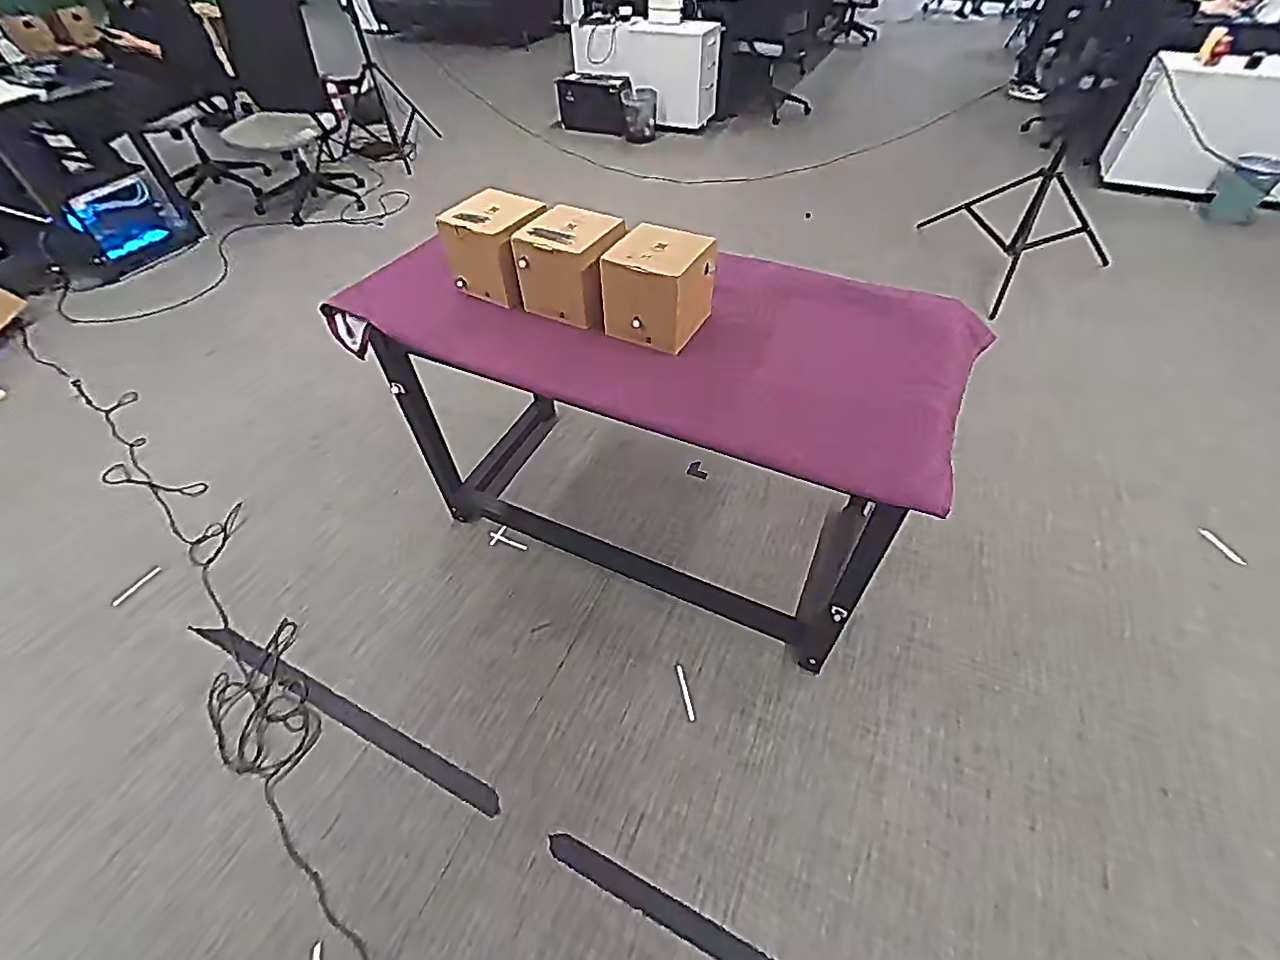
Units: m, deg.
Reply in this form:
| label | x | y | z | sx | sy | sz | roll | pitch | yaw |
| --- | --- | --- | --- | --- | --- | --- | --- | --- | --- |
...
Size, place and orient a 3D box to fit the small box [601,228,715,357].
| label | x | y | z | sx | sy | sz | roll | pitch | yaw |
| --- | --- | --- | --- | --- | --- | --- | --- | --- | --- |
| small box | 0.037 | -0.378 | 1.091 | 0.168 | 0.176 | 0.179 | 21 | 52 | 20 |
